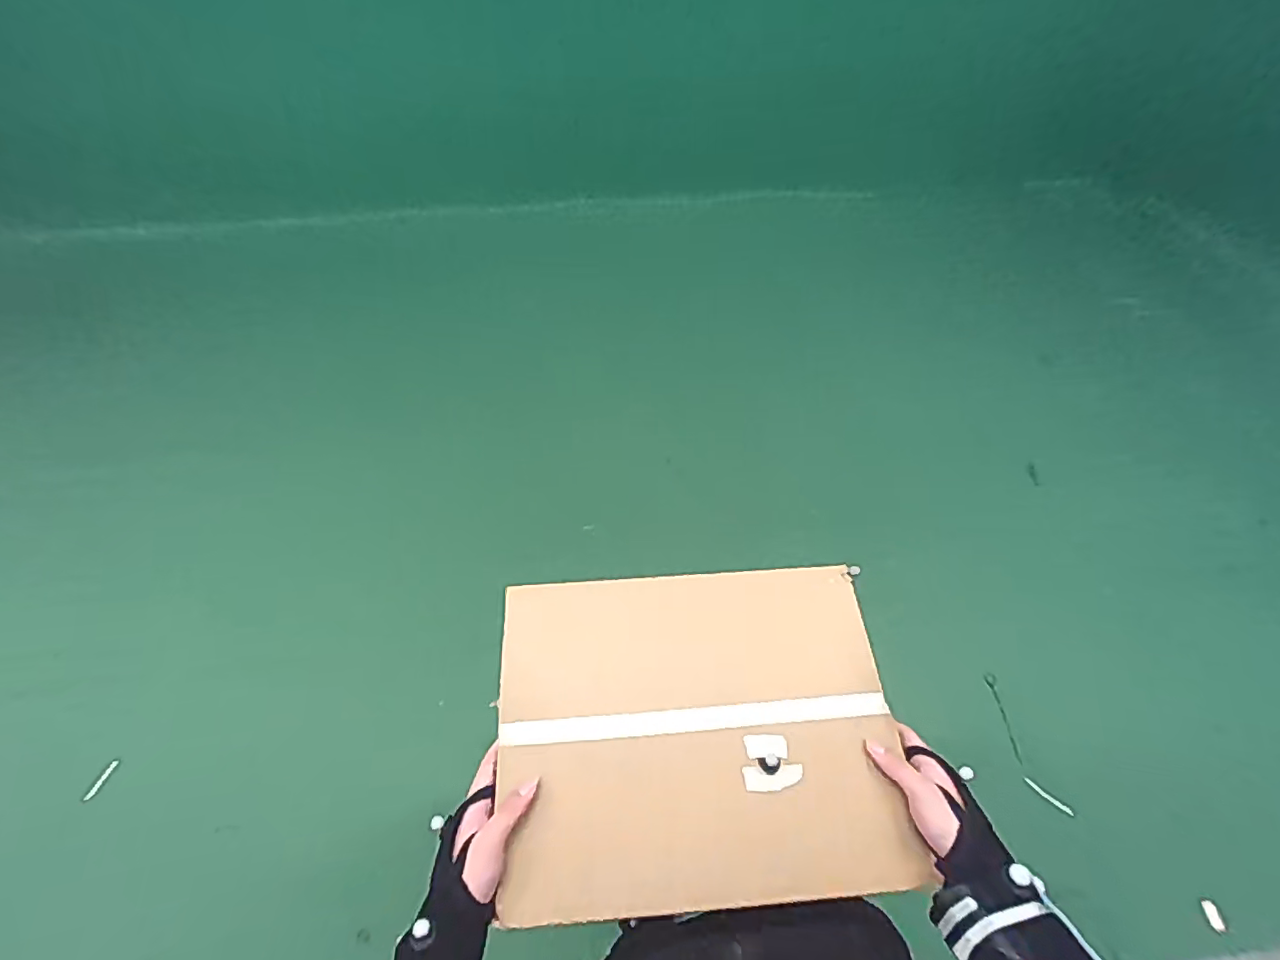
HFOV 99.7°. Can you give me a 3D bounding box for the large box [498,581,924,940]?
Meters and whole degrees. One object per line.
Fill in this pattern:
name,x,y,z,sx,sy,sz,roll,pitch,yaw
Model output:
large box,0.052,0.342,0.693,0.408,0.320,0.320,-3,59,-4
